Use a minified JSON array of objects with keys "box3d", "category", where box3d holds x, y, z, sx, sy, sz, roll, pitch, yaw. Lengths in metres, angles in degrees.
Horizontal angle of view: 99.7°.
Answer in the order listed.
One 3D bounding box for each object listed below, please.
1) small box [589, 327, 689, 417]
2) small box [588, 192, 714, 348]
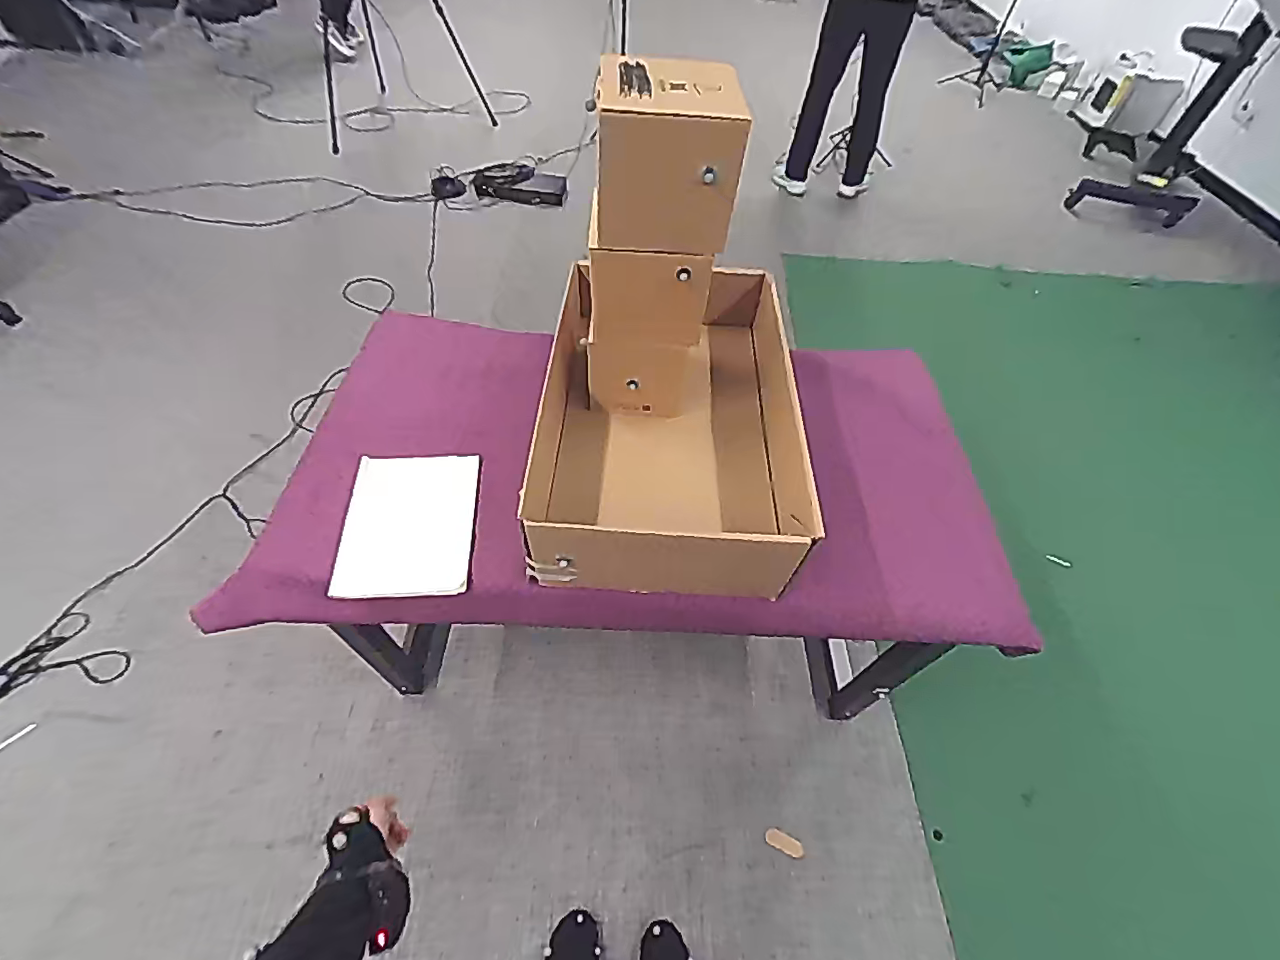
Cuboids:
[{"box3d":[0.000,-0.232,0.980,0.168,0.176,0.179,4,55,-1],"category":"small box"},{"box3d":[0.014,-0.324,0.847,0.179,0.176,0.168,2,55,-2],"category":"small box"}]
